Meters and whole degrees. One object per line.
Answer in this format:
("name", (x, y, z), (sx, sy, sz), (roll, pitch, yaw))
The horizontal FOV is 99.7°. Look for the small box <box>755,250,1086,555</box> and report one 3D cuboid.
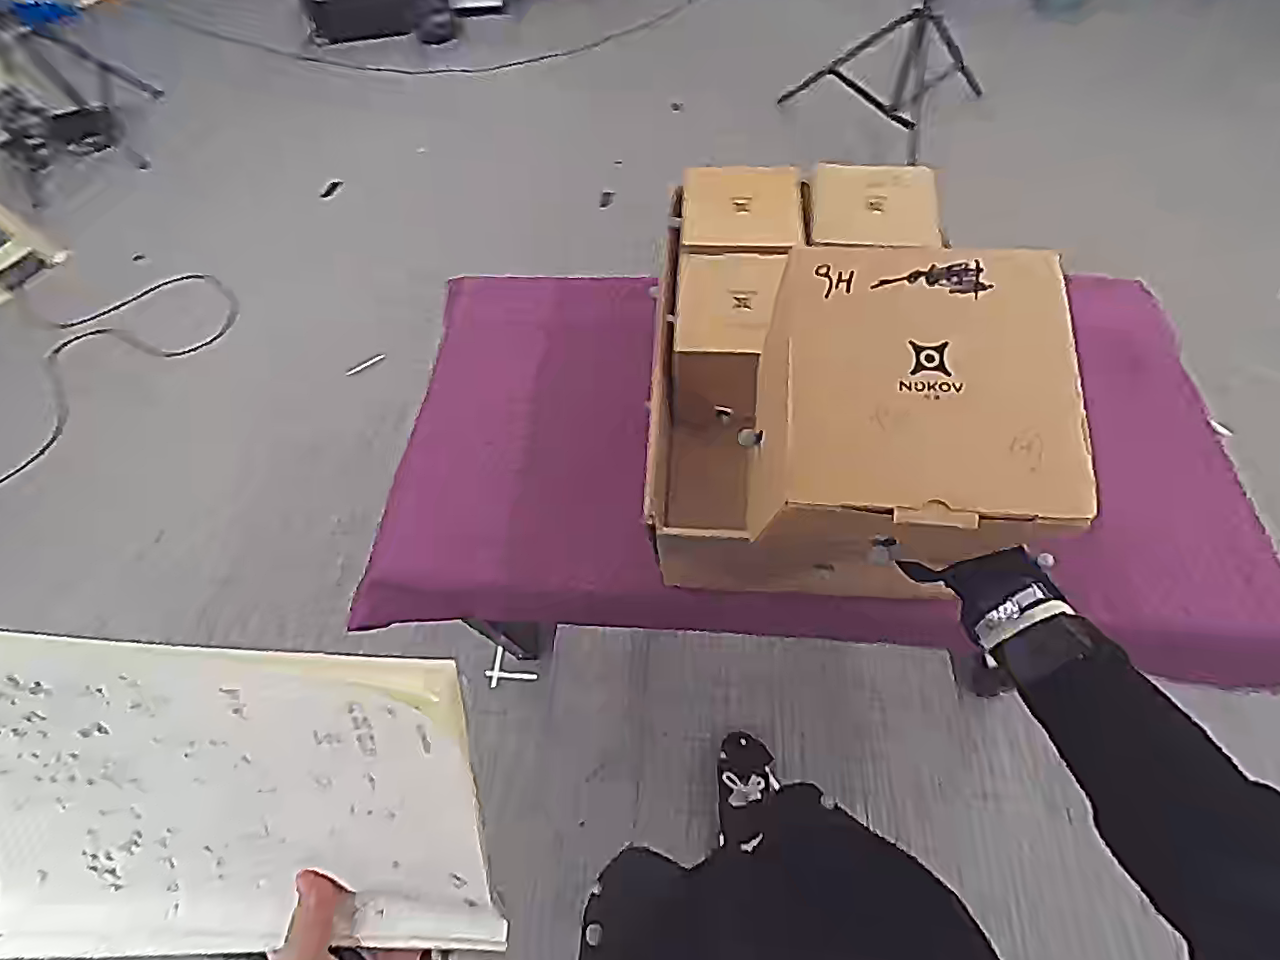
("small box", (0.178, -0.042, 0.401), (0.168, 0.176, 0.179), (3, 75, 7))
